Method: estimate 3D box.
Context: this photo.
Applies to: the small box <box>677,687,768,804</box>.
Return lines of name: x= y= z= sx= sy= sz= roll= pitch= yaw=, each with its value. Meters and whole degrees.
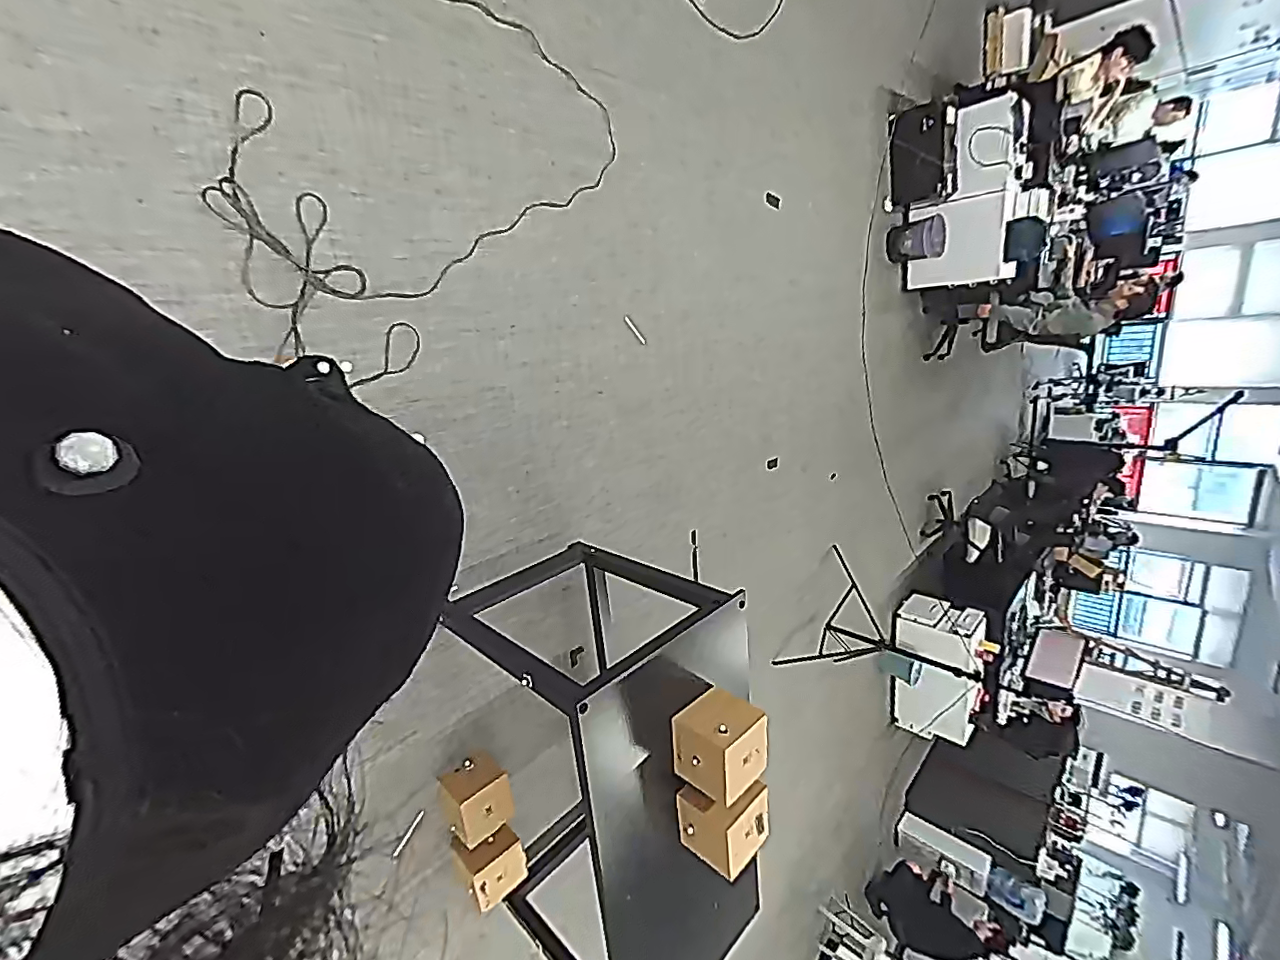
small box: x=0.203 y=0.655 z=1.358 sx=0.179 sy=0.176 sz=0.168 roll=-17 pitch=110 yaw=-43

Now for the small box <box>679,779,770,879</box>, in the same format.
small box: x=0.222 y=0.871 z=1.417 sx=0.179 sy=0.176 sz=0.168 roll=-21 pitch=112 yaw=-40

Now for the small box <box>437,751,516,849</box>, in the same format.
small box: x=-0.525 y=1.016 z=1.735 sx=0.168 sy=0.176 sz=0.179 roll=-22 pitch=111 yaw=-42

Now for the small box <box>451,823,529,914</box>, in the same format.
small box: x=-0.499 y=1.269 z=1.803 sx=0.179 sy=0.176 sz=0.168 roll=-22 pitch=112 yaw=-41
